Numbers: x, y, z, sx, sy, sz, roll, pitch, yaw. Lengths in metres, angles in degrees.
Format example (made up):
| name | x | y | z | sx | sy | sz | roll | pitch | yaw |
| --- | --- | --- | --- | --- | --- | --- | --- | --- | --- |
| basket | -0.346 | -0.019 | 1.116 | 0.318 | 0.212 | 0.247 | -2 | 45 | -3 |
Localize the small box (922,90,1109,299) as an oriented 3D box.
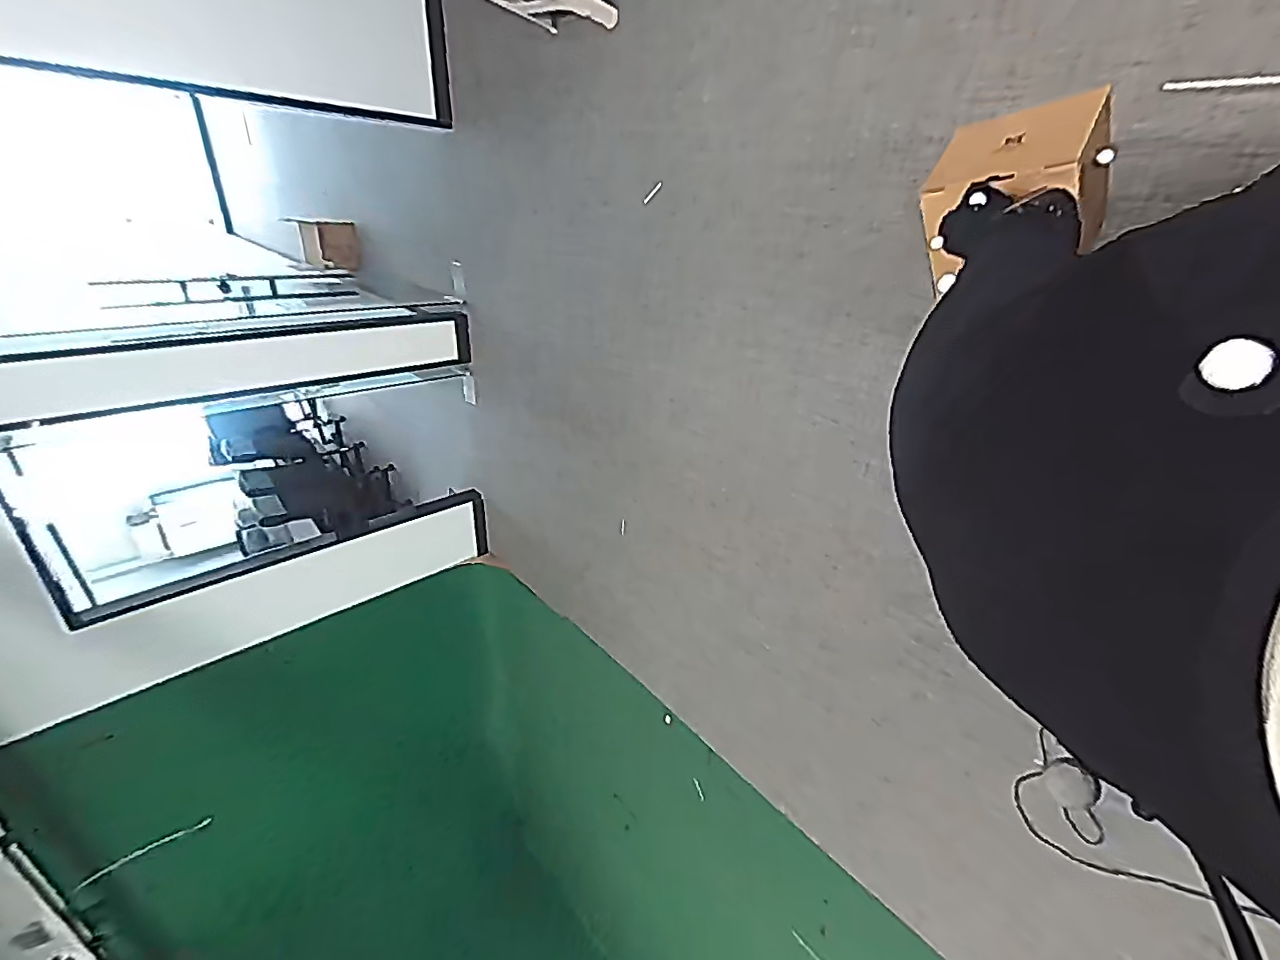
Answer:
| name | x | y | z | sx | sy | sz | roll | pitch | yaw |
| --- | --- | --- | --- | --- | --- | --- | --- | --- | --- |
| small box | 0.507 | -0.371 | 0.731 | 0.168 | 0.179 | 0.176 | 11 | 148 | 45 |
